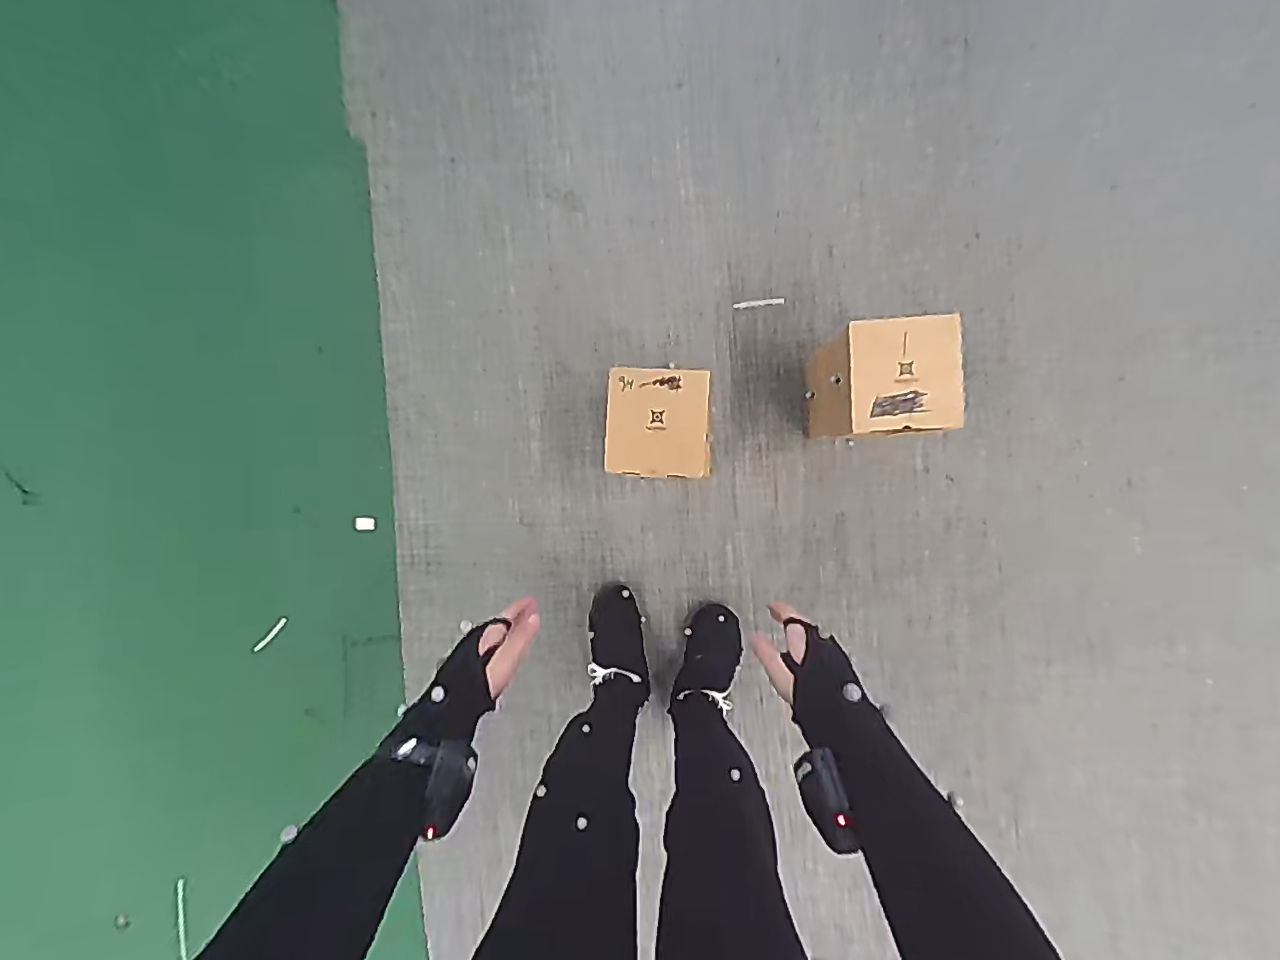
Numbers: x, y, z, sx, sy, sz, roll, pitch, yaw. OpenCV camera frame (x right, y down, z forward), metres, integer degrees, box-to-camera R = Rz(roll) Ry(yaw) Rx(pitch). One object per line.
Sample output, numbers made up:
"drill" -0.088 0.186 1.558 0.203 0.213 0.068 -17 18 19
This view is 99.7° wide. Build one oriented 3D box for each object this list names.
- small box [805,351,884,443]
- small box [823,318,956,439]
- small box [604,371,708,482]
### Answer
"small box" 0.430 -0.165 1.080 0.179 0.176 0.168 -4 90 7
"small box" 0.412 -0.161 0.917 0.168 0.176 0.179 -2 89 7
"small box" 0.035 -0.090 0.964 0.168 0.176 0.179 3 91 6
